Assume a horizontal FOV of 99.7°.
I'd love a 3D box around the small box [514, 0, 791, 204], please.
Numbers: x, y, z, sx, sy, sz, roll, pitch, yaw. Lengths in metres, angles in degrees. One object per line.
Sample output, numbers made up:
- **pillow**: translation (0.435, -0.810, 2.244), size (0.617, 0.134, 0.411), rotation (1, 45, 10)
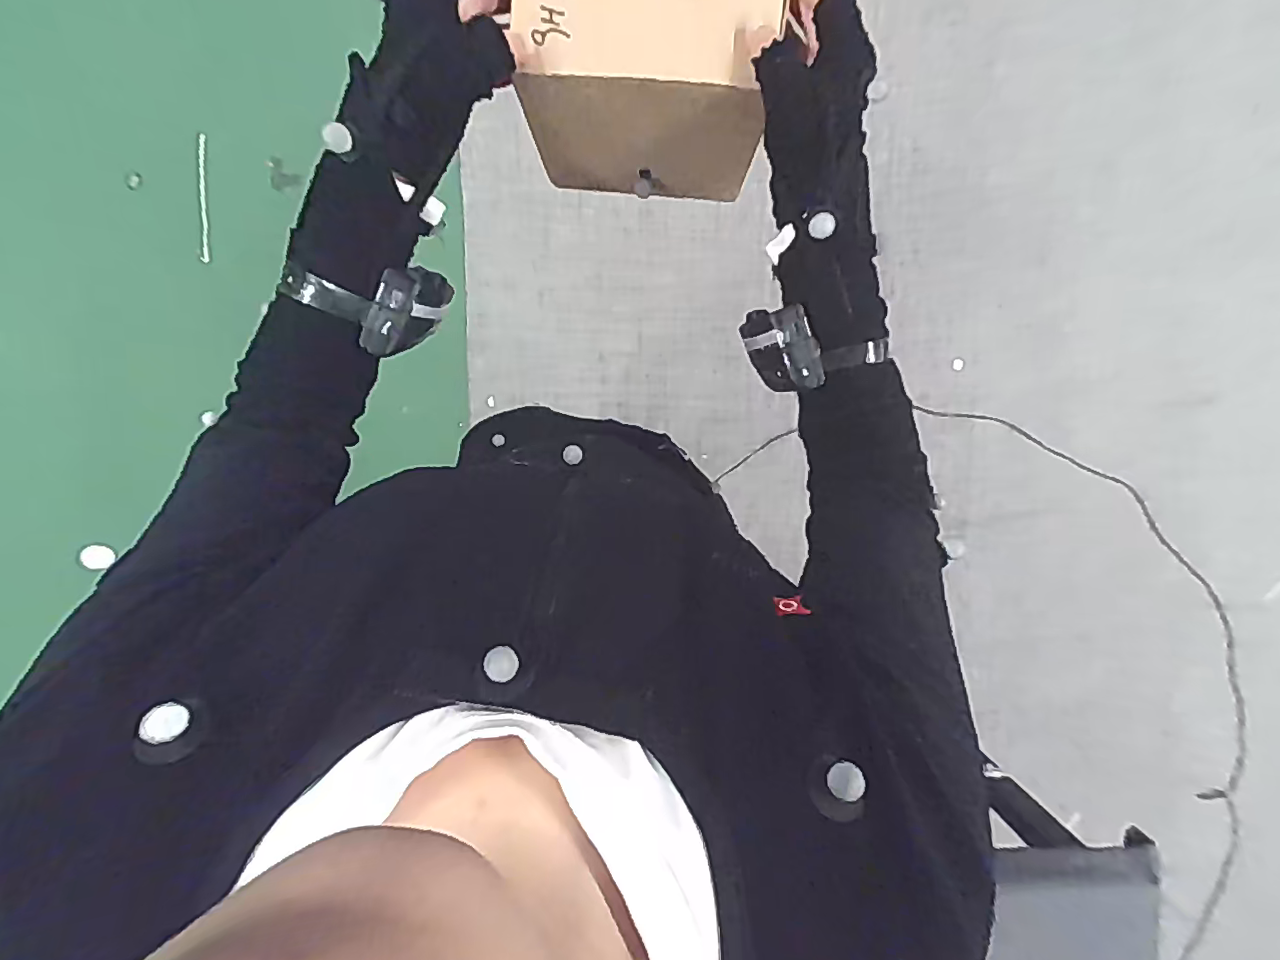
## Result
- **small box**: translation (0.011, -0.337, 0.422), size (0.179, 0.176, 0.168), rotation (5, 93, -1)
